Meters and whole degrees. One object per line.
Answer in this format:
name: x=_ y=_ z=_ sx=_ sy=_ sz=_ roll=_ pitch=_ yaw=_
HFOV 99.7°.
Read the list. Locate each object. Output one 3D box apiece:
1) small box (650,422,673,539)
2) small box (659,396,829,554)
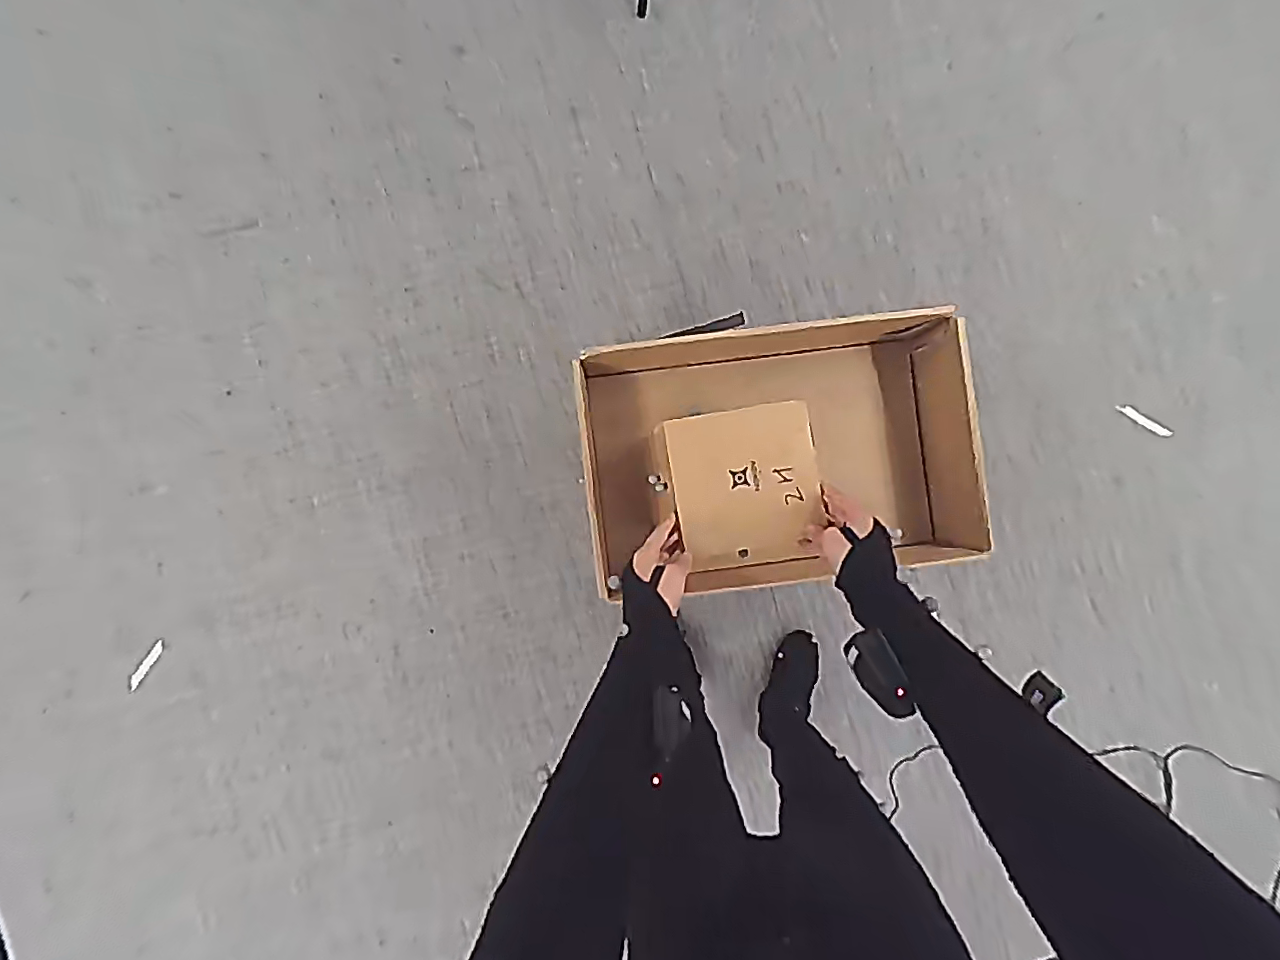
small box: x=0.111 y=-0.009 z=0.869 sx=0.168 sy=0.176 sz=0.179 roll=-9 pitch=88 yaw=-2
small box: x=0.120 y=-0.003 z=0.705 sx=0.179 sy=0.176 sz=0.168 roll=-9 pitch=89 yaw=-2
